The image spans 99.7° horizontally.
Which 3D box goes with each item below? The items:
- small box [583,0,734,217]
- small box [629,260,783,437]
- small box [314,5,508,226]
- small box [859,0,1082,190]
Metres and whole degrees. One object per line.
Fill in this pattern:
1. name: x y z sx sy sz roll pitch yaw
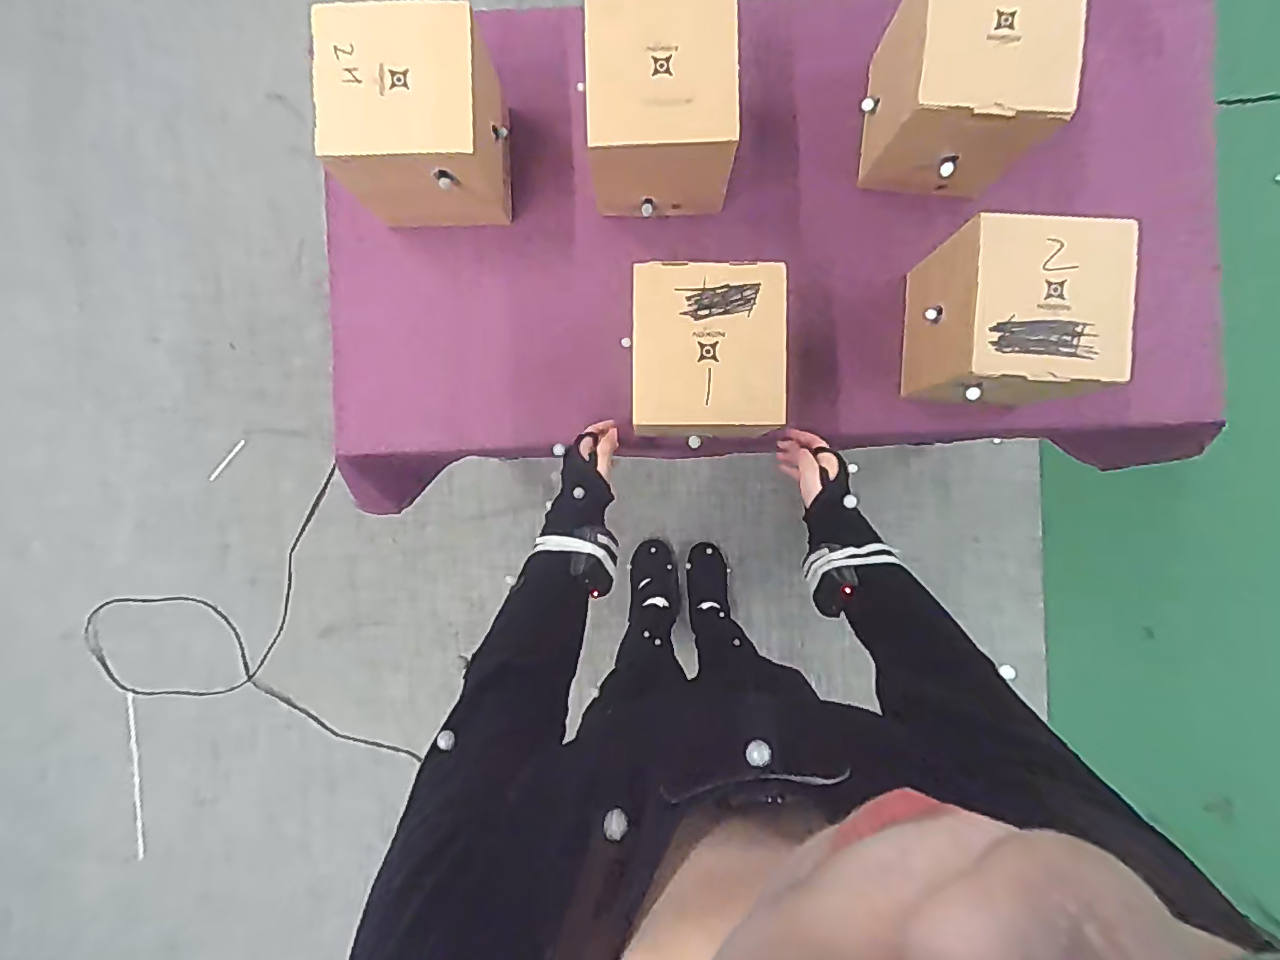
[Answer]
1. small box: 0.021 -0.448 0.660 0.168 0.176 0.179 -1 91 3
2. small box: 0.073 -0.147 0.657 0.168 0.176 0.179 0 90 3
3. small box: -0.266 -0.432 0.667 0.179 0.176 0.168 -1 90 2
4. small box: 0.377 -0.475 0.646 0.168 0.176 0.179 5 91 1
